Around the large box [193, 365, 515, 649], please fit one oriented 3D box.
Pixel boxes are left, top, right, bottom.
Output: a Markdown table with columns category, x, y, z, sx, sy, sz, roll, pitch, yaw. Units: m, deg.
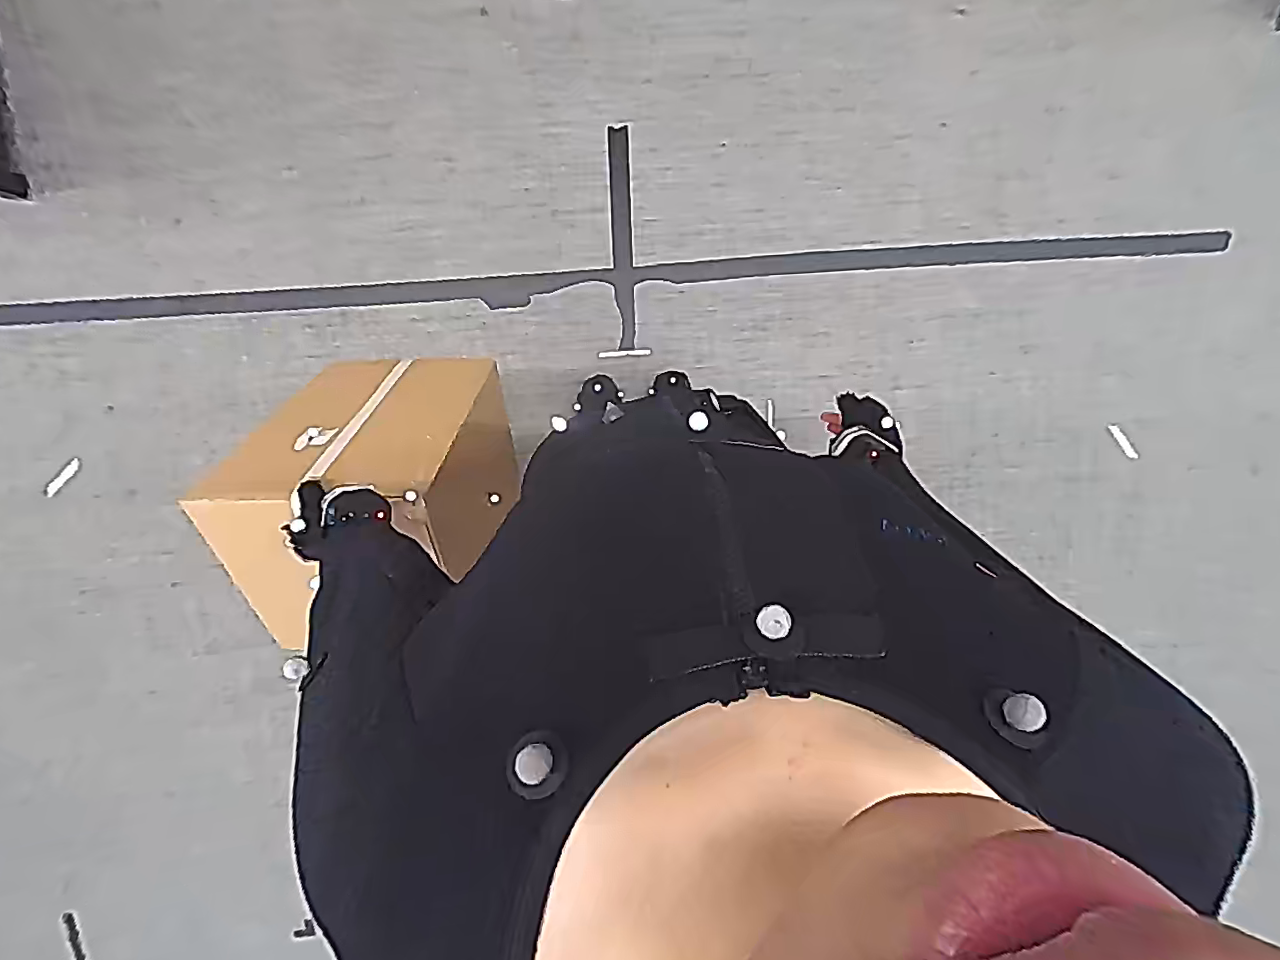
| category | x | y | z | sx | sy | sz | roll | pitch | yaw |
| --- | --- | --- | --- | --- | --- | --- | --- | --- | --- |
| large box | -0.420 | 0.031 | 0.934 | 0.320 | 0.408 | 0.320 | -2 | 128 | 2 |
